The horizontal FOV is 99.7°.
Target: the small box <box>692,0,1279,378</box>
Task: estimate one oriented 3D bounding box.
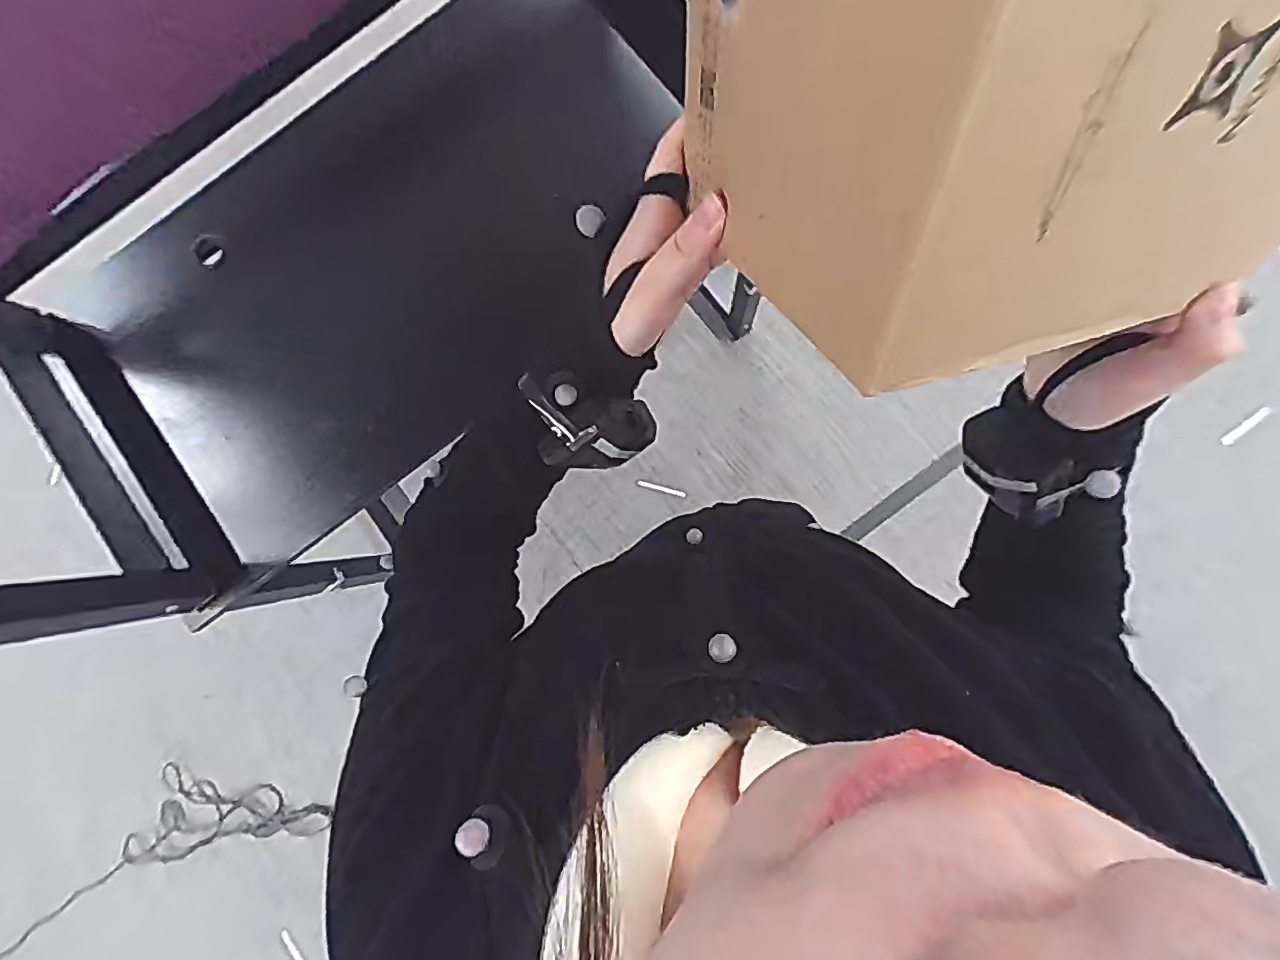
[{"bbox_3d":[0.134,-0.164,0.187,0.179,0.168,0.176,-14,48,-12],"label":"small box"}]
